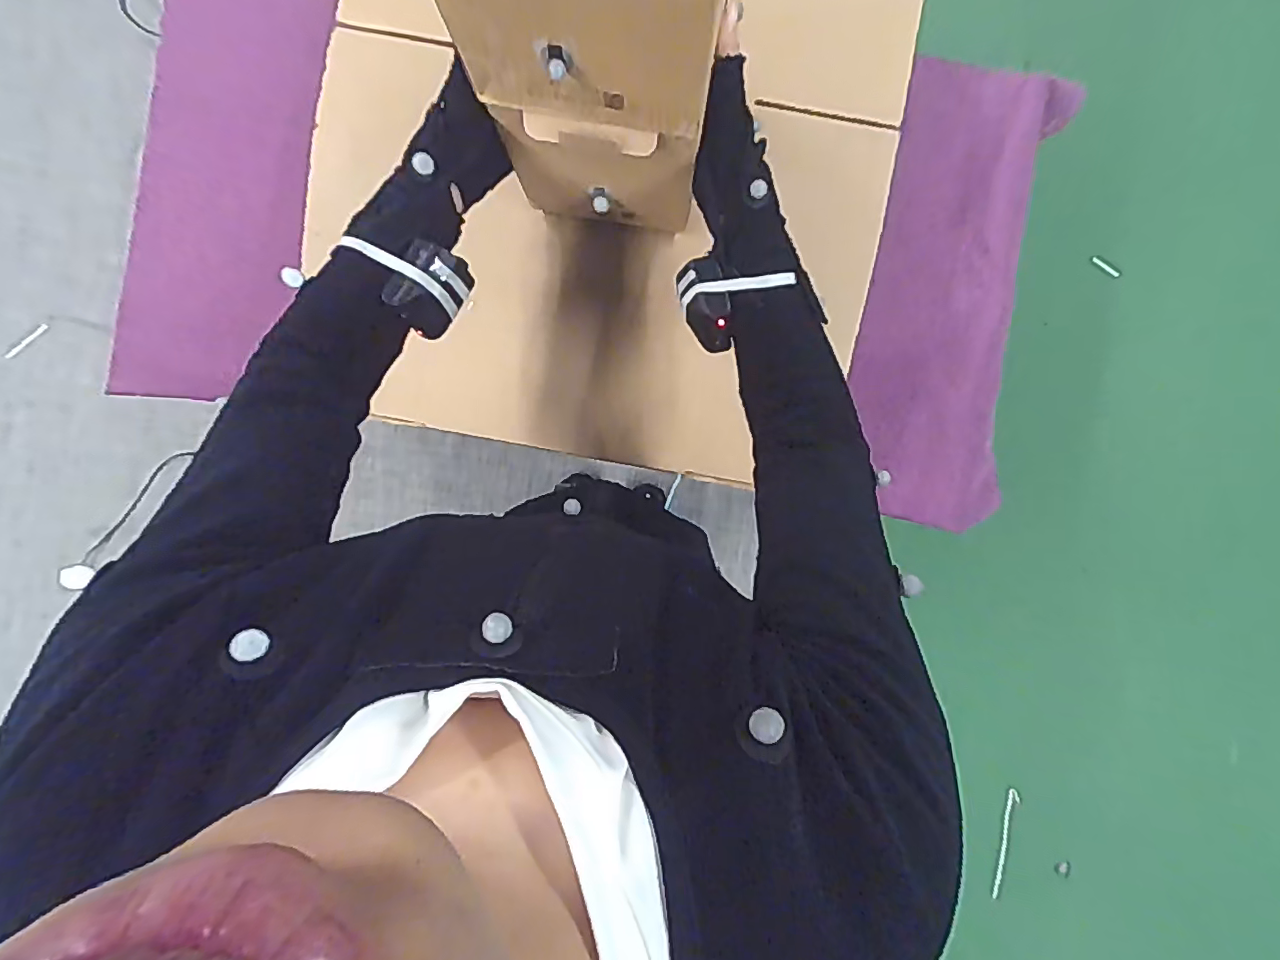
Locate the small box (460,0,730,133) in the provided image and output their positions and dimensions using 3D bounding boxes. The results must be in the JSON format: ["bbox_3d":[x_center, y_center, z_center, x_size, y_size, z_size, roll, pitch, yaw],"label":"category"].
[{"bbox_3d":[-0.020,-0.353,0.319,0.168,0.176,0.179,10,91,1],"label":"small box"}]

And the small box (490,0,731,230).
[{"bbox_3d":[-0.016,-0.356,0.482,0.168,0.176,0.179,10,91,1],"label":"small box"}]
